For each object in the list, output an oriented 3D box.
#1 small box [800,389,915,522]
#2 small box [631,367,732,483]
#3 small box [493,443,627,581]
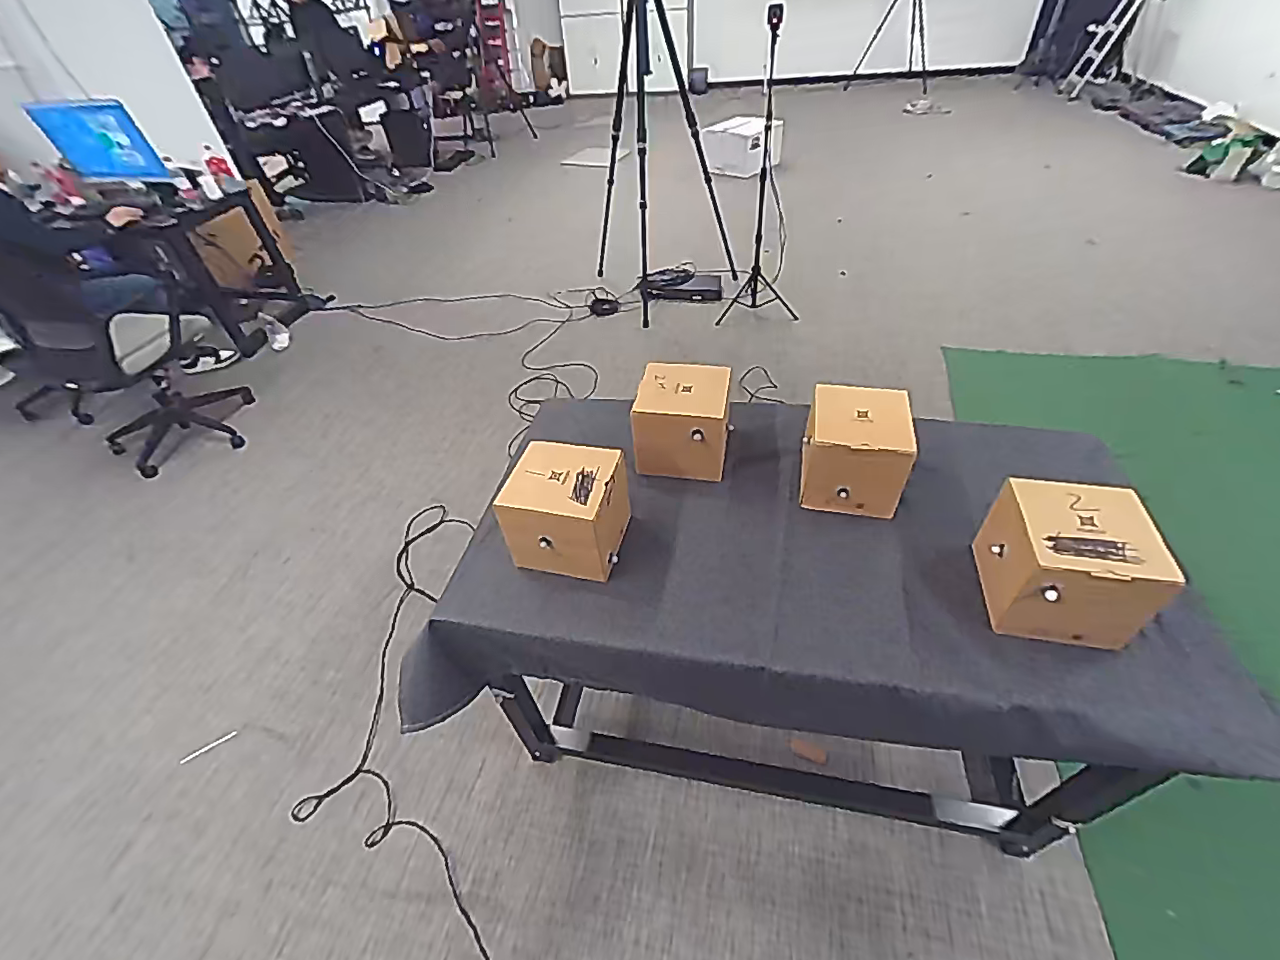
[{"bbox_3d":[0.399,-0.047,1.019,0.168,0.176,0.179,7,47,12],"label":"small box"},{"bbox_3d":[0.089,-0.111,1.106,0.179,0.176,0.168,6,46,12],"label":"small box"},{"bbox_3d":[-0.128,0.059,0.956,0.179,0.176,0.168,7,45,14],"label":"small box"}]
